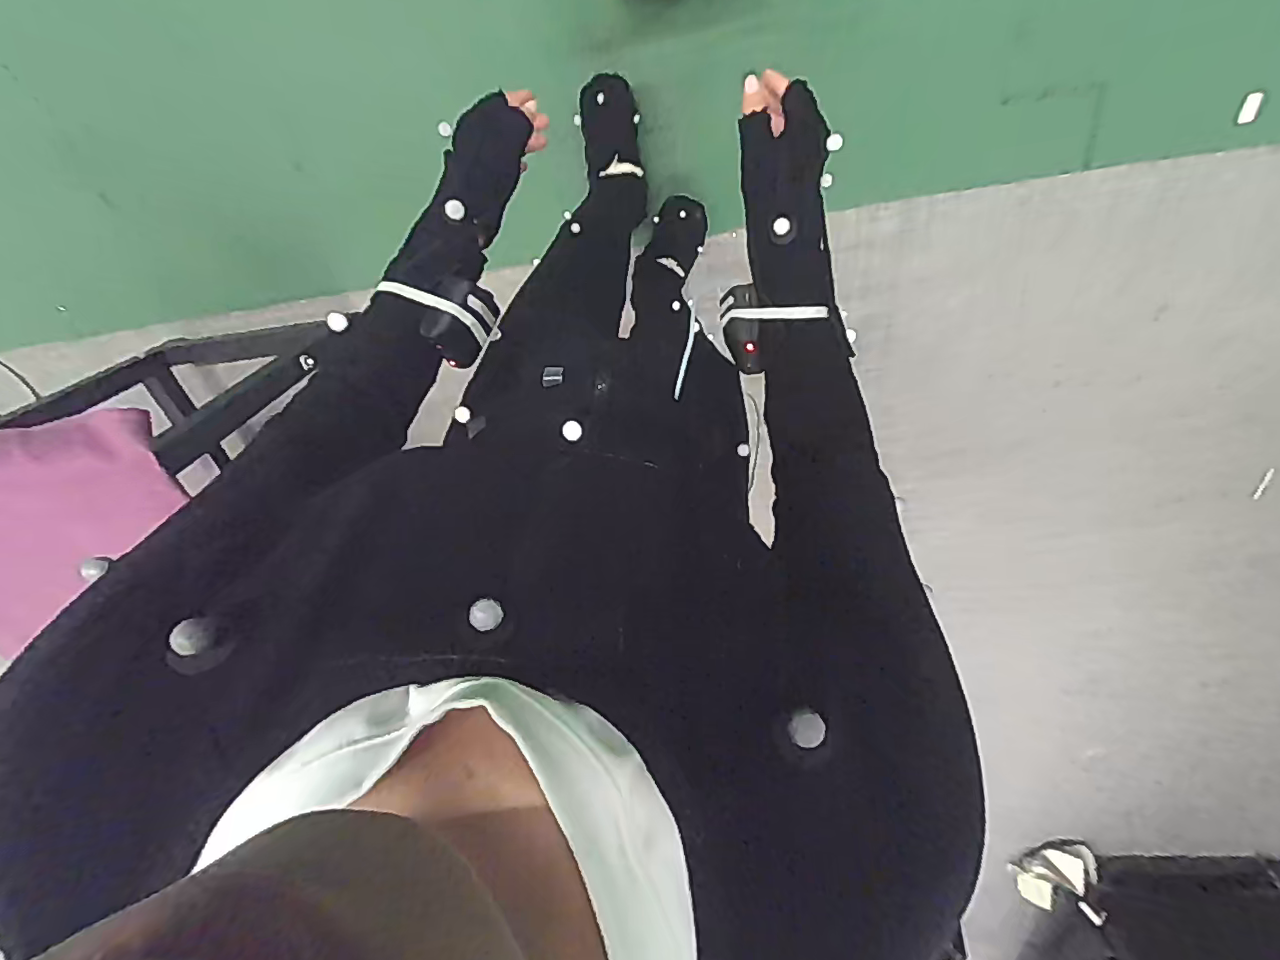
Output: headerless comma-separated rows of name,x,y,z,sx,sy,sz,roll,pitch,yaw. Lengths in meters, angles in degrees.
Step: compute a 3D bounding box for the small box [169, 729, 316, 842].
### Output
small box,-0.856,0.670,1.192,0.179,0.176,0.168,-3,124,7
